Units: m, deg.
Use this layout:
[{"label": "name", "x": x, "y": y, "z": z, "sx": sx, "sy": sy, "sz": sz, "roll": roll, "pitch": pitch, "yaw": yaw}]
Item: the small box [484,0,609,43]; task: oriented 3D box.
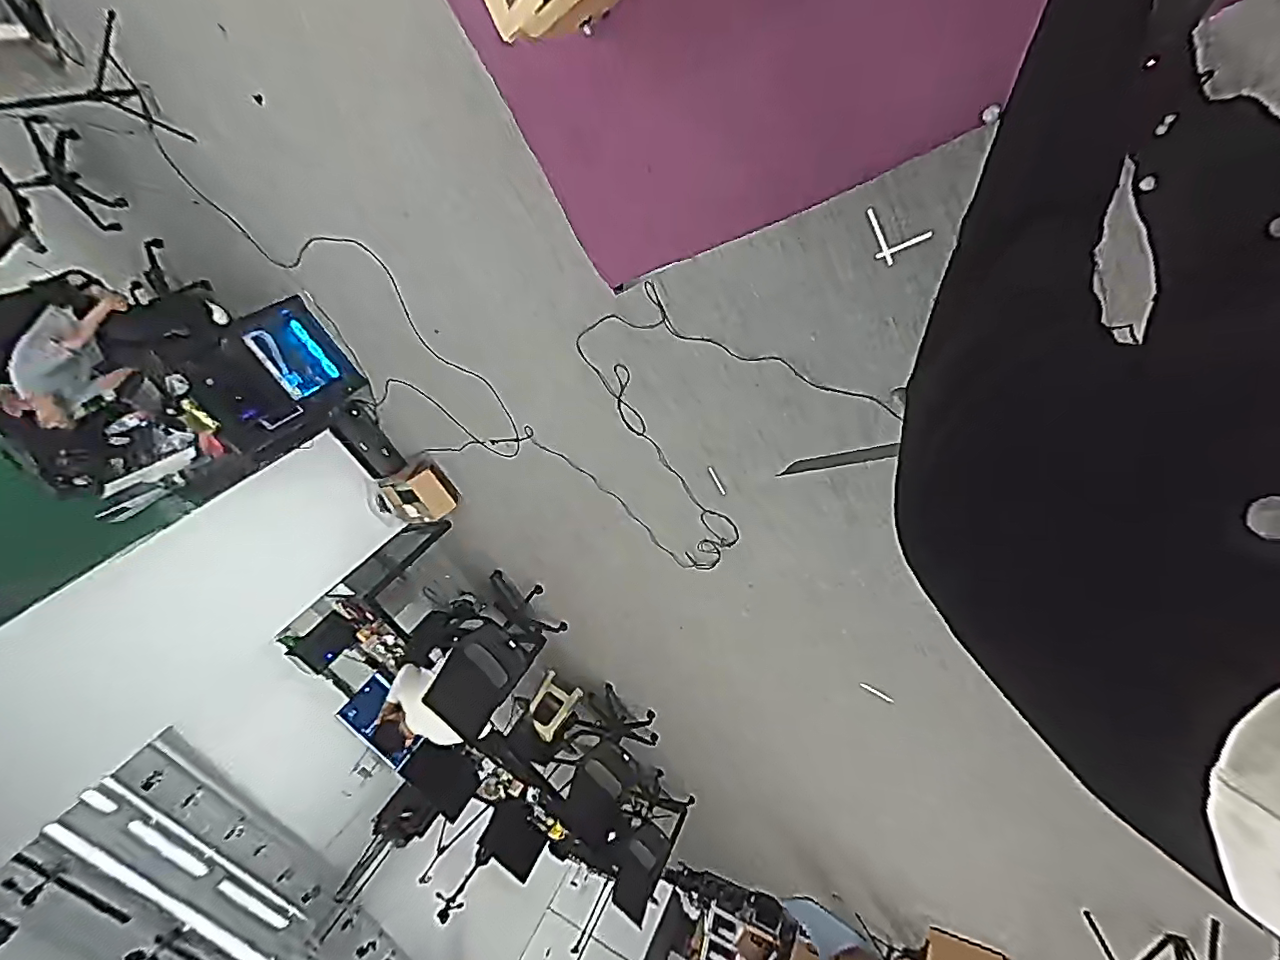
[{"label": "small box", "x": -0.100, "y": -0.654, "z": 0.621, "sx": 0.168, "sy": 0.176, "sz": 0.179, "roll": -5, "pitch": 124, "yaw": 39}]
